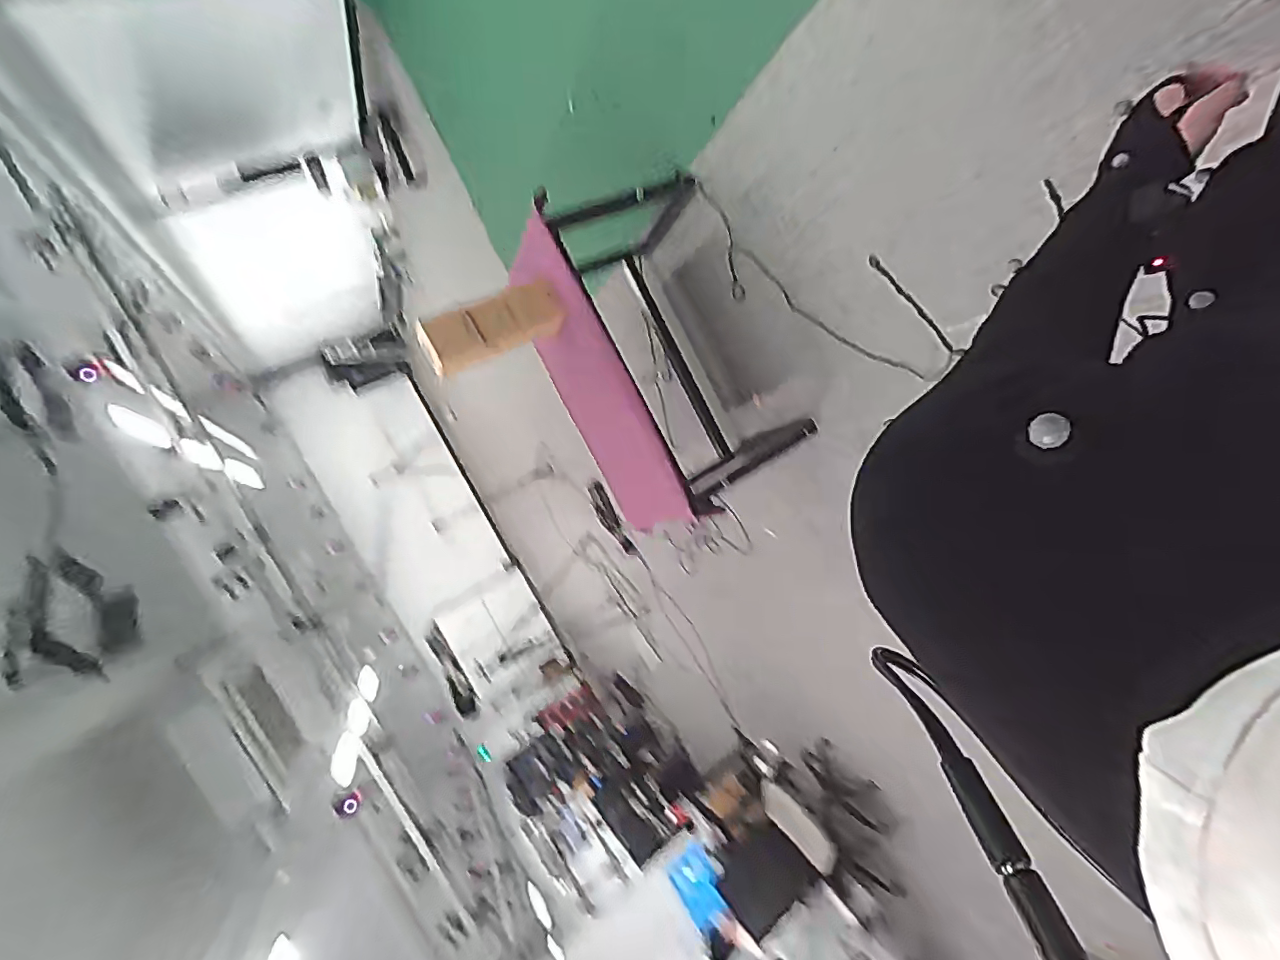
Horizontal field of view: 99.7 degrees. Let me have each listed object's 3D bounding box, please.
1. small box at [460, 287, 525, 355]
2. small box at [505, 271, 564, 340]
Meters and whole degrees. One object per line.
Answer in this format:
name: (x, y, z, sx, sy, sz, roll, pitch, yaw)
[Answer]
small box: (-0.541, -0.587, 1.992, 0.168, 0.176, 0.179, 63, 157, -6)
small box: (-0.408, -0.663, 2.054, 0.168, 0.176, 0.179, 61, 158, -5)
